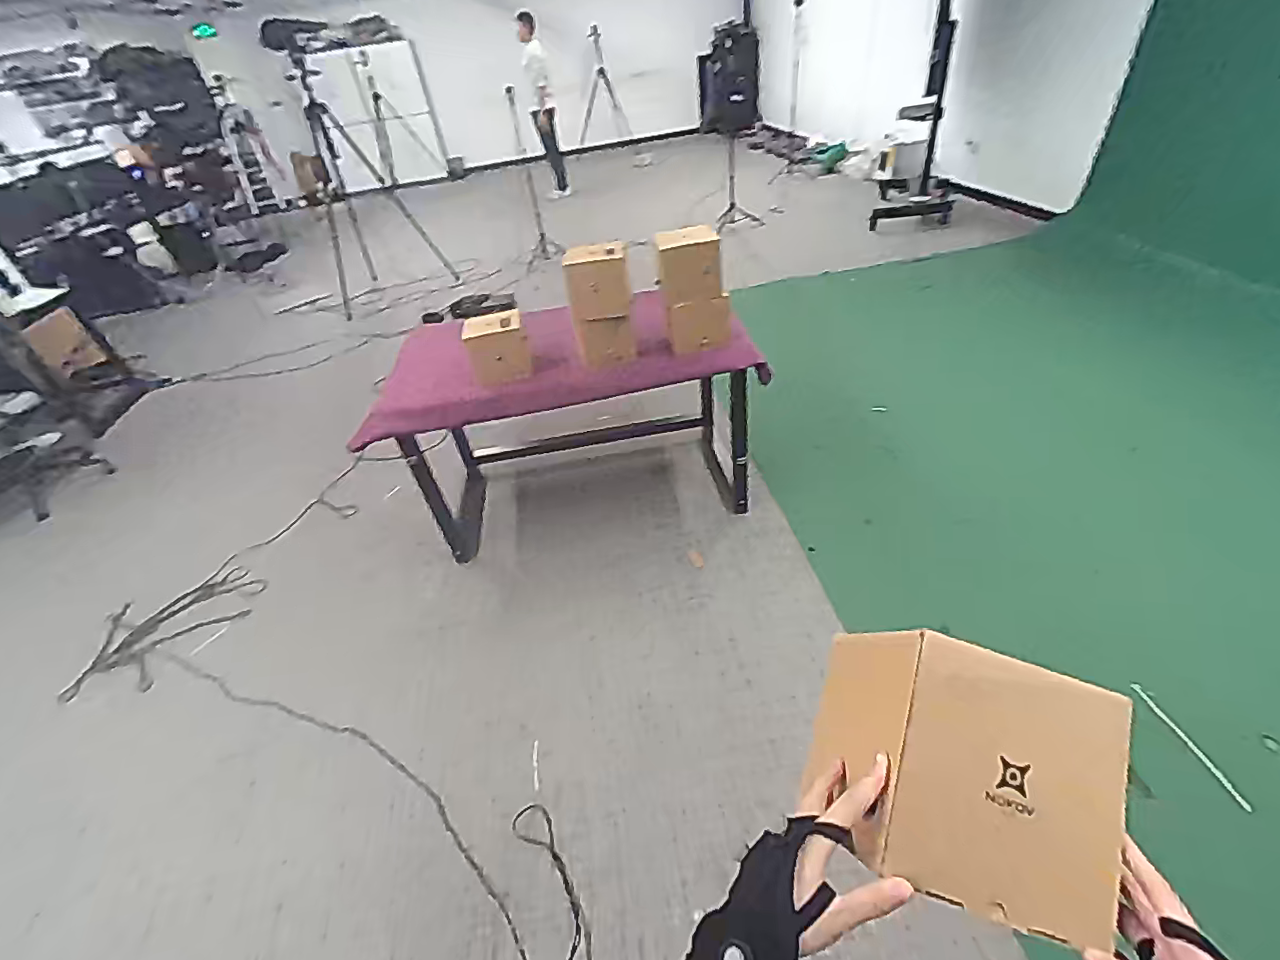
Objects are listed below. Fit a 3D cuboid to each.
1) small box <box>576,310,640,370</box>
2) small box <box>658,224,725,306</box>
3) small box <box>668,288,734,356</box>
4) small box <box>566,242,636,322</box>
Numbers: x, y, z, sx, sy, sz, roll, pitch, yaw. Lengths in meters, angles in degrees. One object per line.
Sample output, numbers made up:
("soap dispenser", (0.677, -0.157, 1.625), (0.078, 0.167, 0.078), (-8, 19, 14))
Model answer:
("small box", (-0.105, -0.473, 1.727), (0.168, 0.176, 0.179), (-15, 39, -6))
("small box", (0.155, -0.642, 1.617), (0.179, 0.176, 0.168), (-10, 39, 1))
("small box", (0.190, -0.514, 1.715), (0.179, 0.176, 0.168), (-13, 39, -4))
("small box", (-0.108, -0.588, 1.607), (0.179, 0.176, 0.168), (-6, 38, 6))
